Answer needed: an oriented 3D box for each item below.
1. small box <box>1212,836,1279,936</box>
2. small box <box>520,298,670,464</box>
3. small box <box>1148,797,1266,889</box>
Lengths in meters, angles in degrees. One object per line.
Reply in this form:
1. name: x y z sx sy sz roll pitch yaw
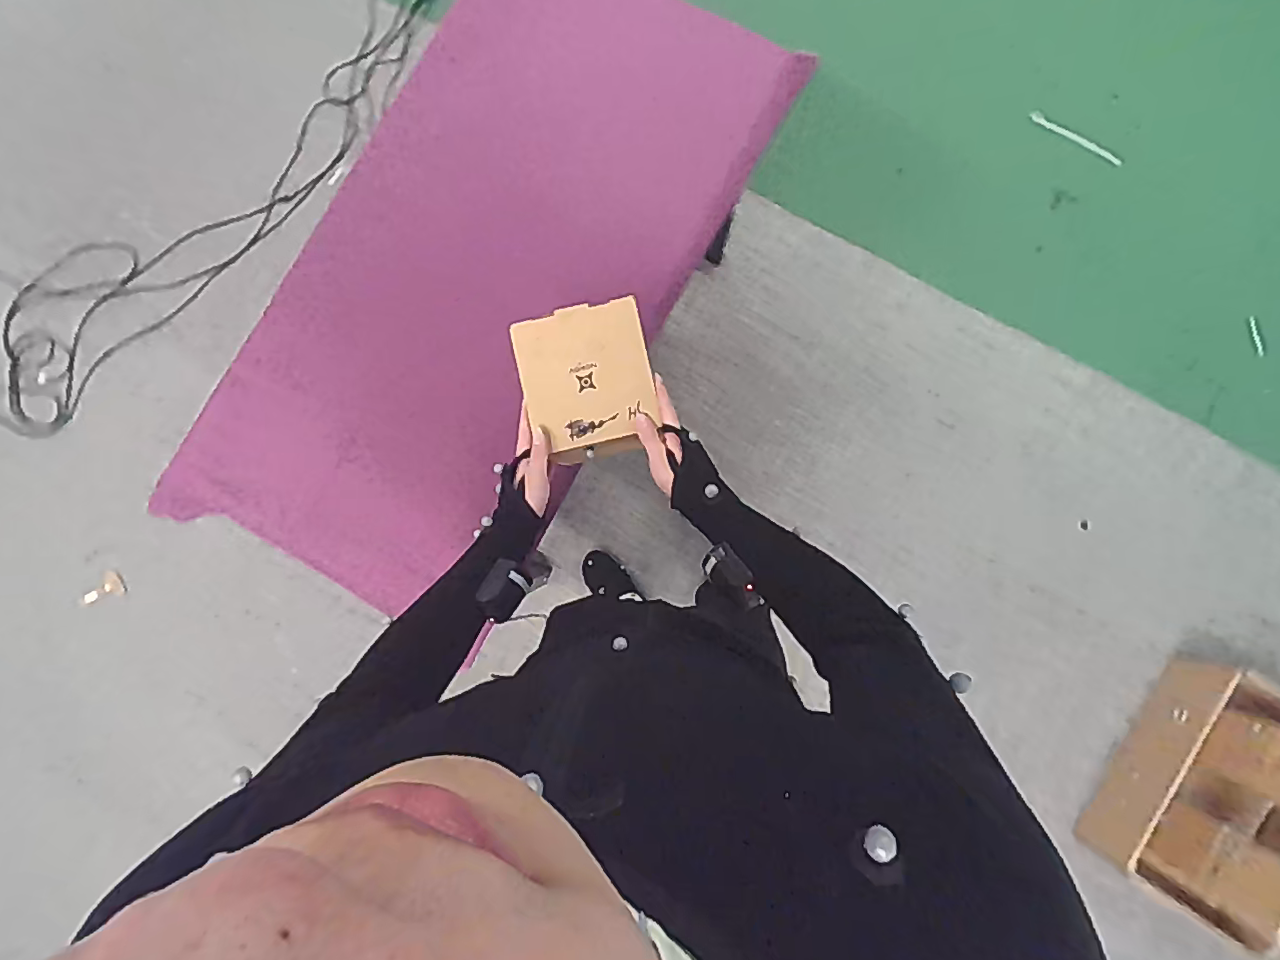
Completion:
1. small box: 1.486 0.957 1.228 0.179 0.176 0.168 33 85 3
2. small box: -0.055 -0.126 0.757 0.168 0.176 0.179 -11 87 3
3. small box: 1.493 0.964 1.392 0.179 0.176 0.168 33 86 4
